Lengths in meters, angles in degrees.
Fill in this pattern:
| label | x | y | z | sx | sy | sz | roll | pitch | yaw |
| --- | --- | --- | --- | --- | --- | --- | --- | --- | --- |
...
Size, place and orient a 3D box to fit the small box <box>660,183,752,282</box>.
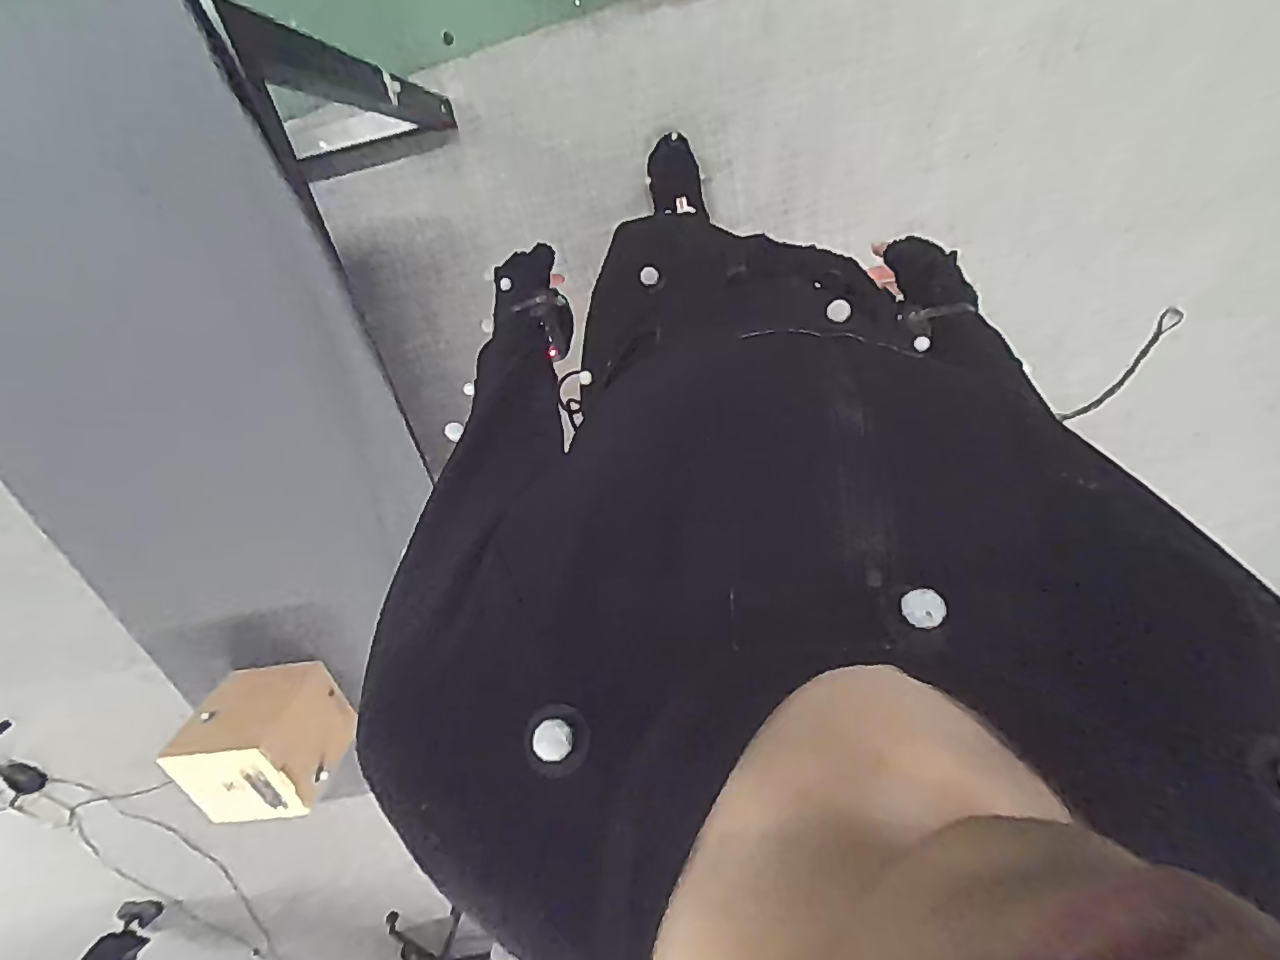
| label | x | y | z | sx | sy | sz | roll | pitch | yaw |
| --- | --- | --- | --- | --- | --- | --- | --- | --- | --- |
| small box | 0.139 | -0.559 | 1.216 | 0.168 | 0.176 | 0.179 | 2 | 120 | -6 |
